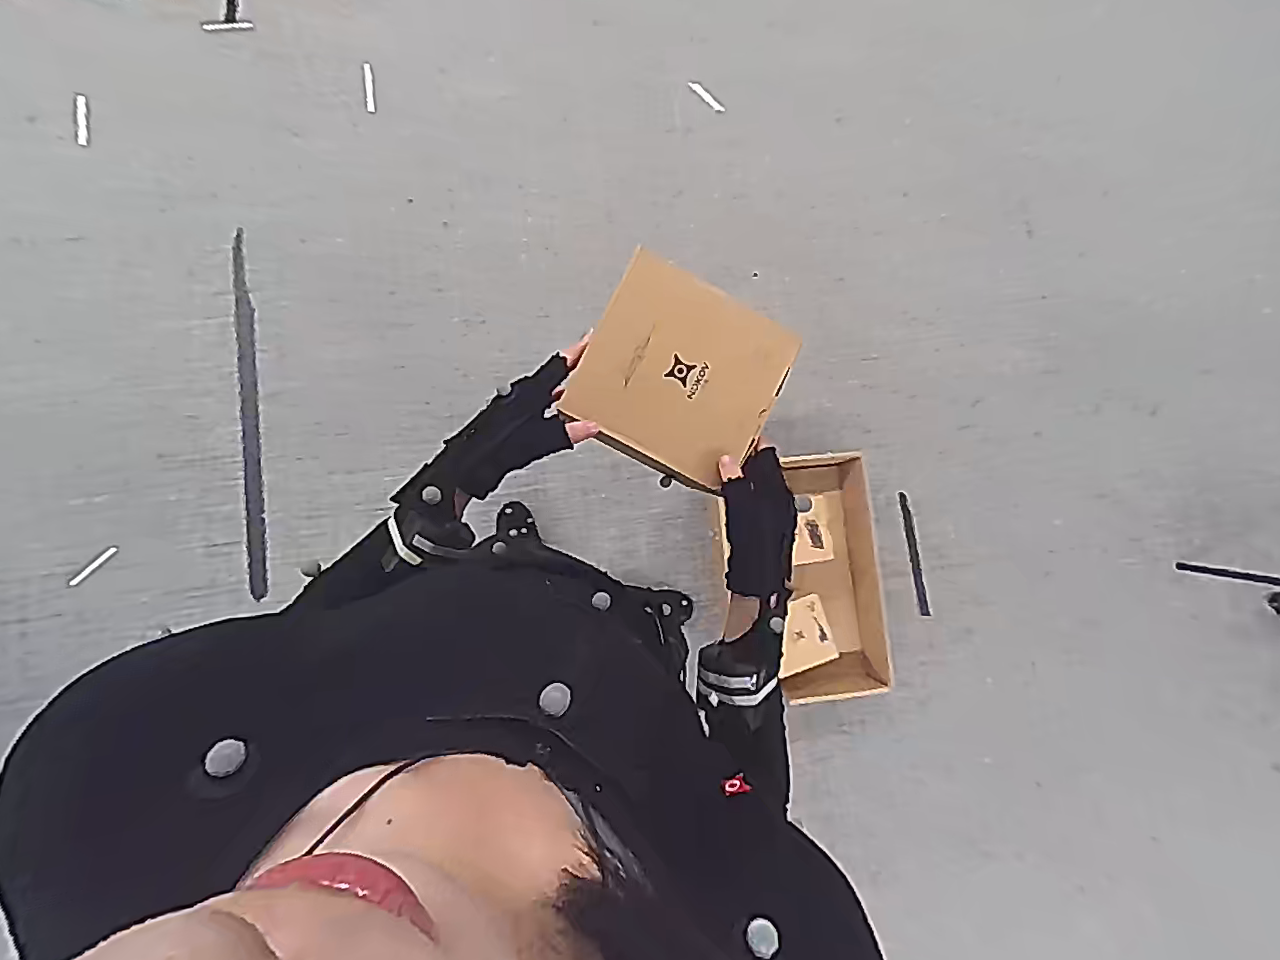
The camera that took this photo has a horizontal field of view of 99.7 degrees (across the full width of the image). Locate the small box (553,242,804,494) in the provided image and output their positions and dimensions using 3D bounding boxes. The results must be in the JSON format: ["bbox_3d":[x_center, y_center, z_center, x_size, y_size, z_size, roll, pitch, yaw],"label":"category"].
[{"bbox_3d":[0.027,-0.099,0.550,0.179,0.176,0.168,26,87,-7],"label":"small box"}]

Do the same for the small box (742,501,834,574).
[{"bbox_3d":[0.384,0.148,1.425,0.179,0.176,0.168,-8,86,-5],"label":"small box"}]
